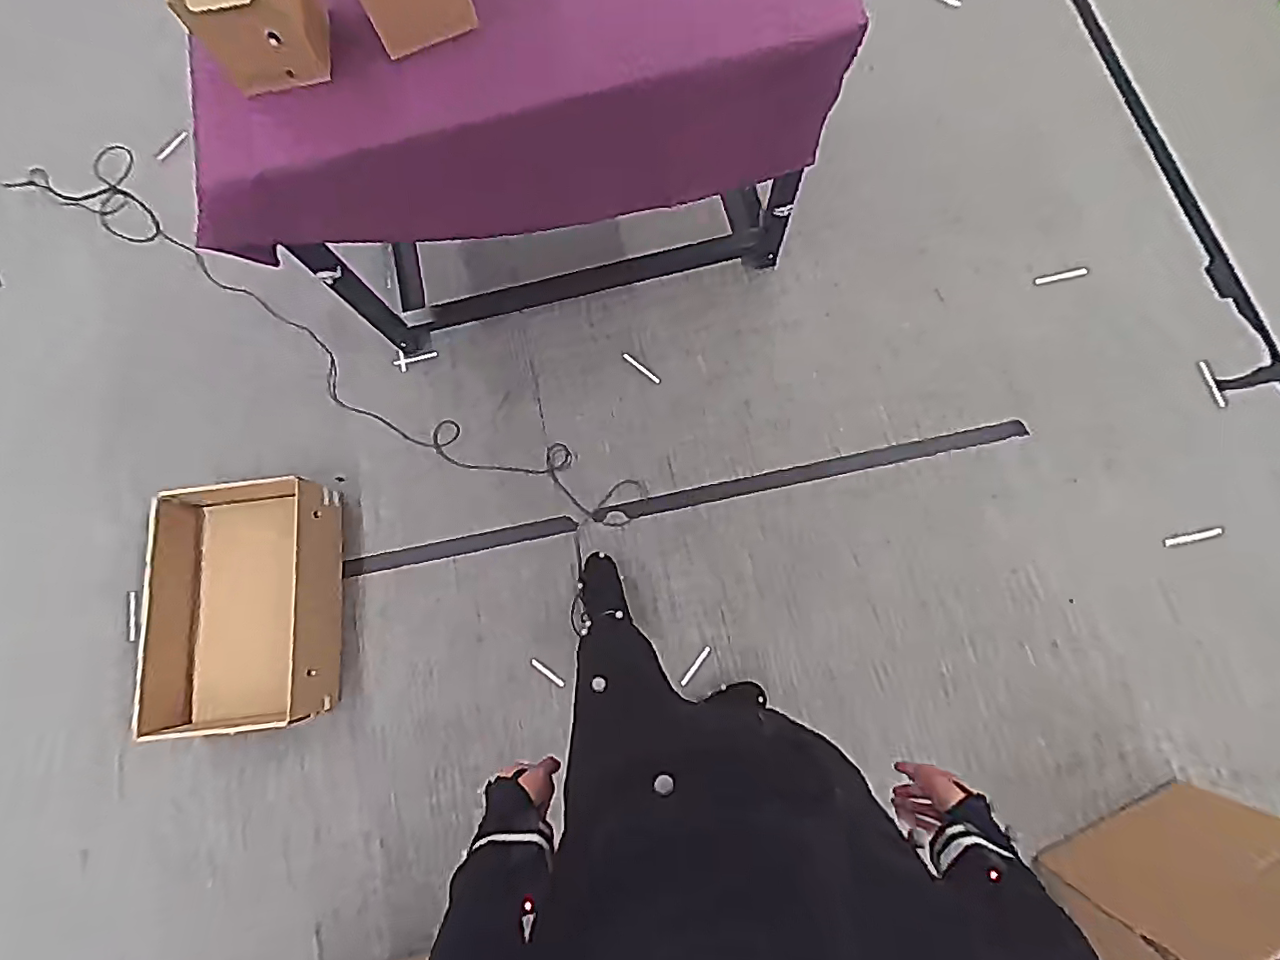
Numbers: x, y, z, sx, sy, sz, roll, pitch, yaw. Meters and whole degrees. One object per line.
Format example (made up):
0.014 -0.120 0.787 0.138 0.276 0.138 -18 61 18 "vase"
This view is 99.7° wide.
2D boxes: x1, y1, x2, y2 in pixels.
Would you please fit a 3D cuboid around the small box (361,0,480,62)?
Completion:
-0.406 -0.880 0.937 0.179 0.176 0.168 -22 77 -2 "small box"

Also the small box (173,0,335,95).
-0.656 -0.807 0.938 0.168 0.176 0.179 -9 77 1 "small box"
